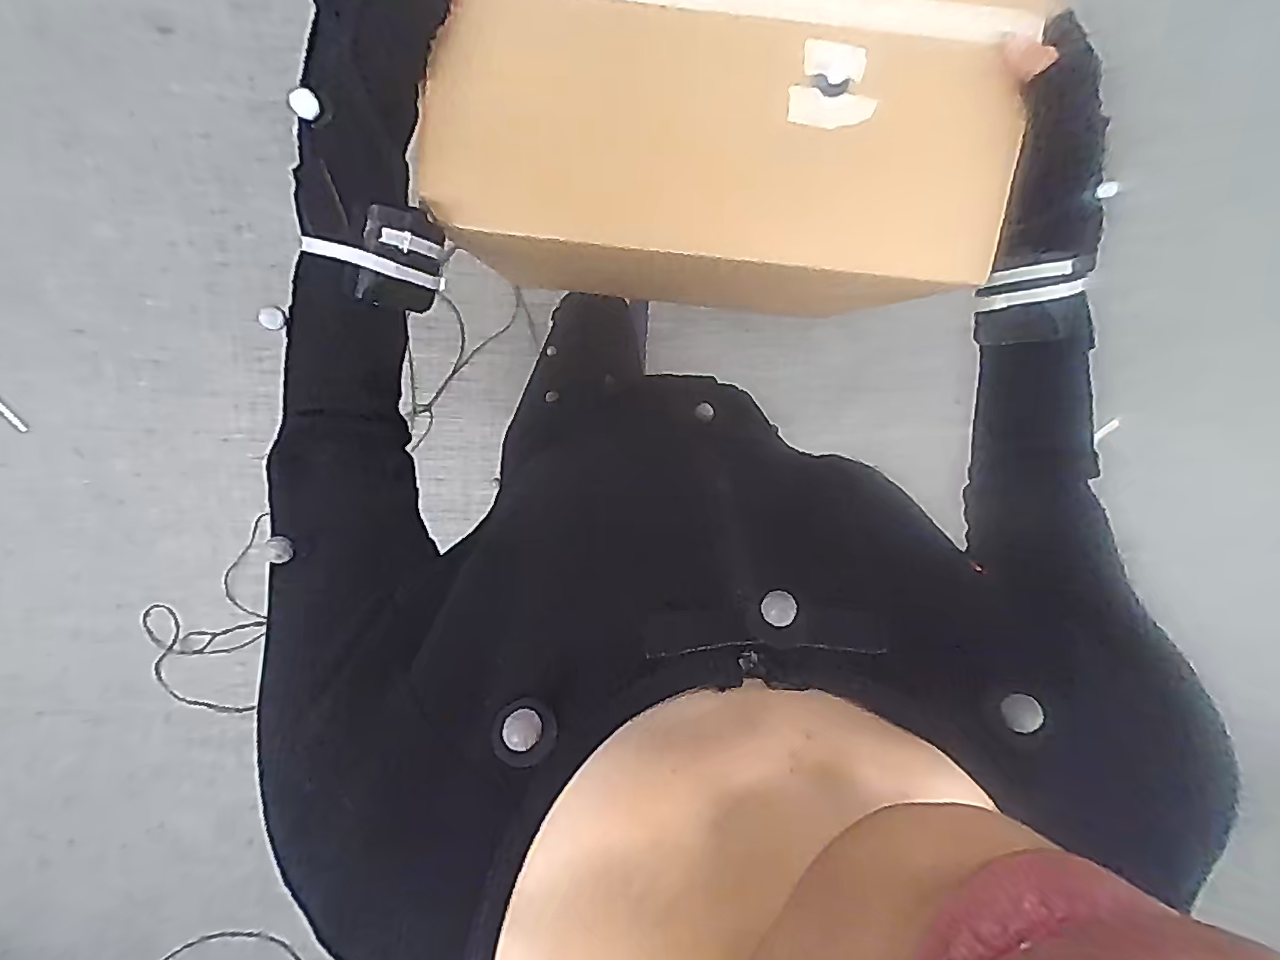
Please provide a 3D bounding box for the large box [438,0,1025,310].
[{"bbox_3d":[0.056,-0.350,0.512,0.408,0.320,0.320,5,102,-4],"label":"large box"}]
